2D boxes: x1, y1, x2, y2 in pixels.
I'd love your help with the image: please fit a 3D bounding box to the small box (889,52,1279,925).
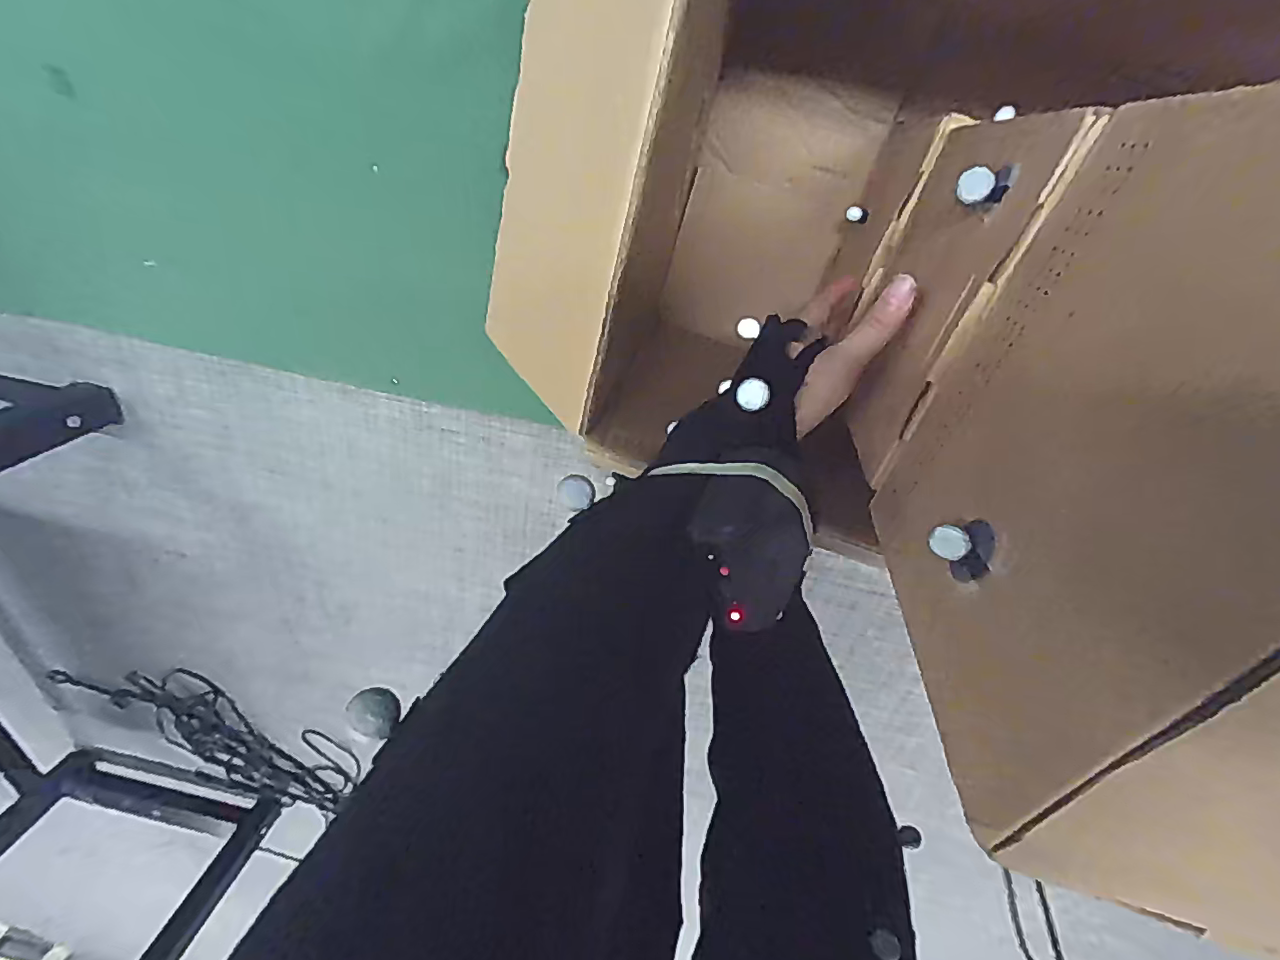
[{"bbox_3d":[0.196,0.002,0.157,0.168,0.176,0.179,17,122,1],"label":"small box"}]
